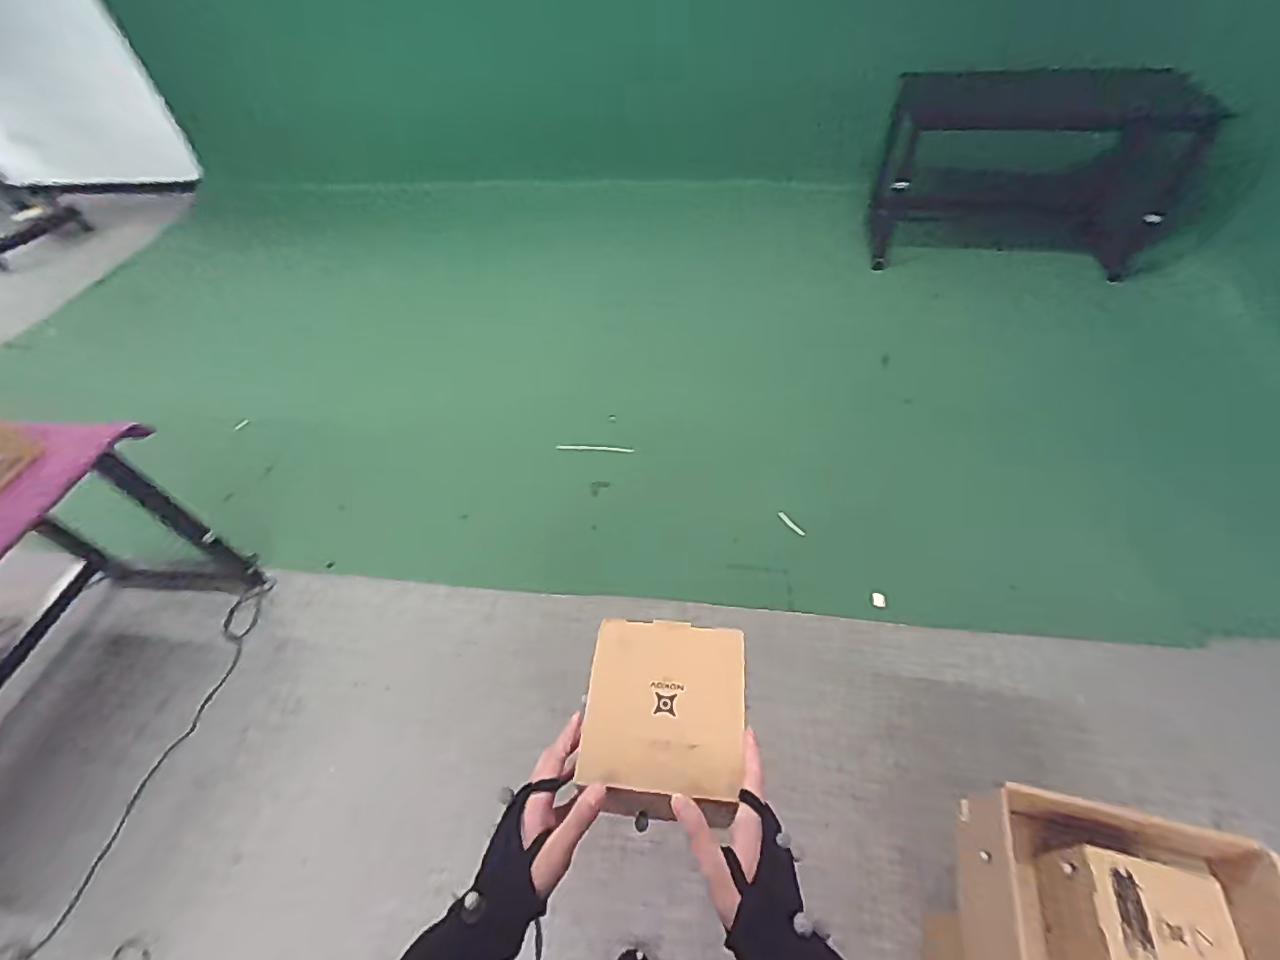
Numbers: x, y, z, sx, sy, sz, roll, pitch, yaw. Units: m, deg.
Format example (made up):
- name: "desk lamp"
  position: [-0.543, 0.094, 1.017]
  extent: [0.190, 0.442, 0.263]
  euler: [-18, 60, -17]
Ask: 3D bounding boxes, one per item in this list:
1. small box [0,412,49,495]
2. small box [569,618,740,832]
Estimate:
- name: "small box"
  position: [-1.520, -0.067, 1.205]
  extent: [0.179, 0.176, 0.168]
  euler: [4, 52, 9]
- name: "small box"
  position: [0.023, 0.282, 0.623]
  extent: [0.168, 0.176, 0.179]
  euler: [4, 50, 6]
